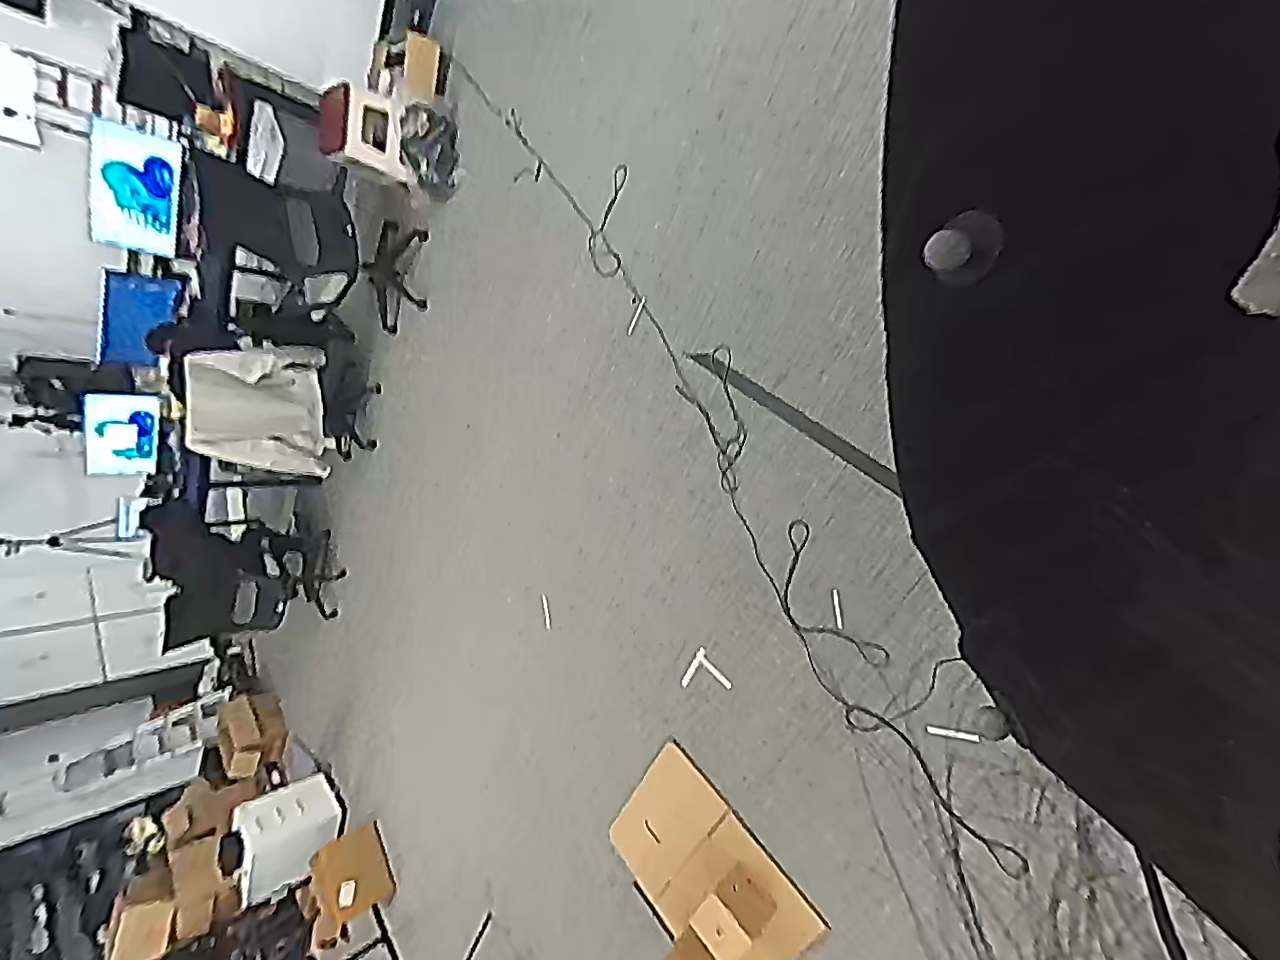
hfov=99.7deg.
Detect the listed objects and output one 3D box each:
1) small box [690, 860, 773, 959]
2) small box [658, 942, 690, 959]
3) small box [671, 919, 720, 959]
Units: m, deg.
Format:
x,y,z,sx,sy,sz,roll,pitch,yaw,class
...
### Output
x,y,z,sx,sy,sz,roll,pitch,yaw,class
0.295,1.359,1.707,0.168,0.176,0.179,39,117,33,small box
0.088,1.613,1.681,0.168,0.176,0.179,35,114,33,small box
0.192,1.602,1.808,0.168,0.176,0.179,34,113,34,small box
